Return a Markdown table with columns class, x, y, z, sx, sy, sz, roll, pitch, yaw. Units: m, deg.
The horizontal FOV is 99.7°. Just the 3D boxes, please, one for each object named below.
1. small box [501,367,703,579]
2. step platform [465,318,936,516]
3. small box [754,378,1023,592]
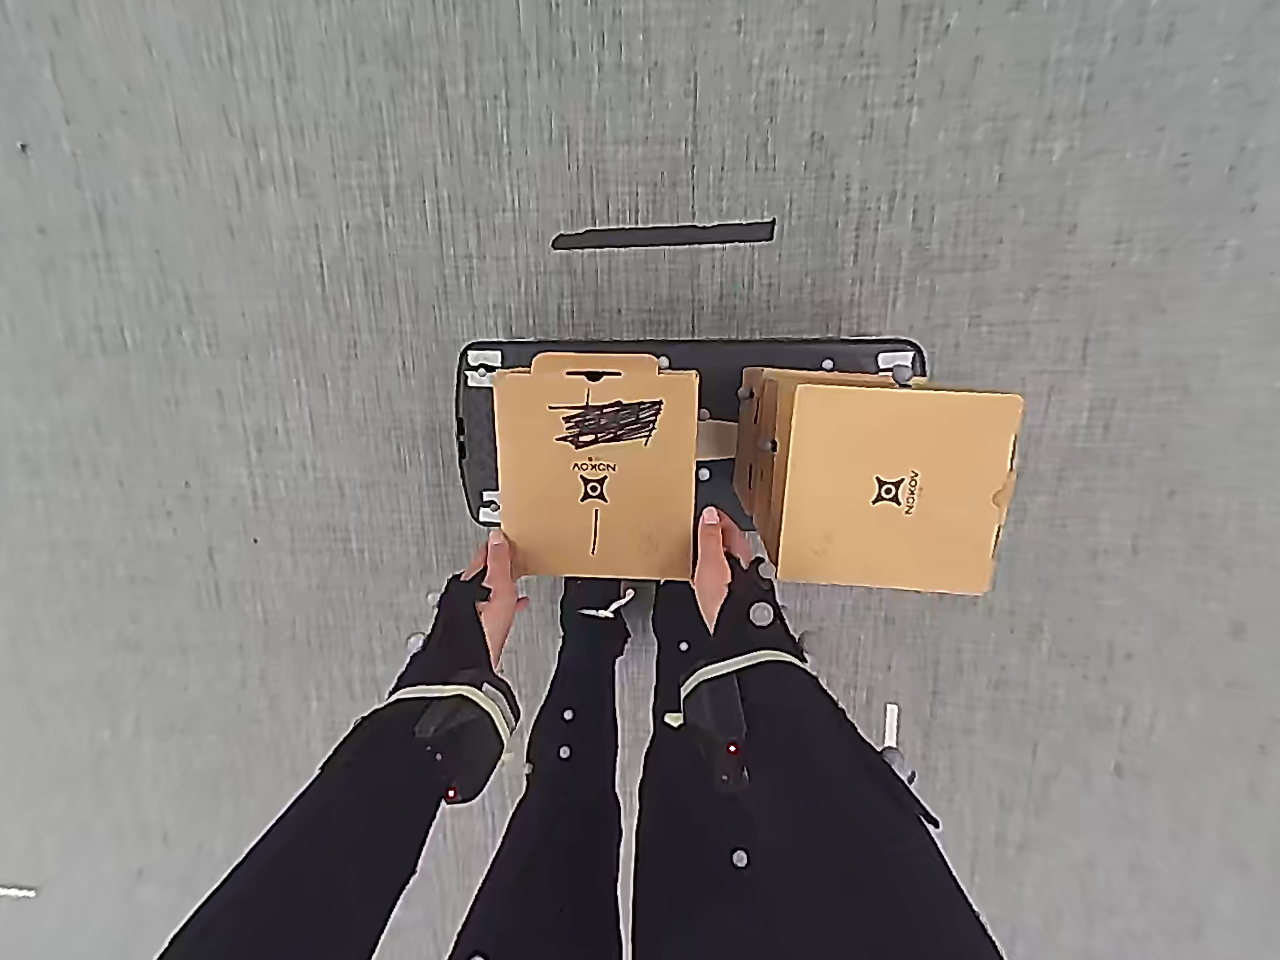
| class | x | y | z | sx | sy | sz | roll | pitch | yaw |
| --- | --- | --- | --- | --- | --- | --- | --- | --- | --- |
| small box | -0.028 | -0.018 | 0.525 | 0.168 | 0.176 | 0.179 | 1 | 102 | 4 |
| step platform | 0.081 | -0.098 | 0.846 | 0.684 | 0.204 | 0.286 | 0 | 101 | 5 |
| small box | 0.209 | -0.009 | 0.511 | 0.179 | 0.176 | 0.168 | 3 | 102 | 3 |
